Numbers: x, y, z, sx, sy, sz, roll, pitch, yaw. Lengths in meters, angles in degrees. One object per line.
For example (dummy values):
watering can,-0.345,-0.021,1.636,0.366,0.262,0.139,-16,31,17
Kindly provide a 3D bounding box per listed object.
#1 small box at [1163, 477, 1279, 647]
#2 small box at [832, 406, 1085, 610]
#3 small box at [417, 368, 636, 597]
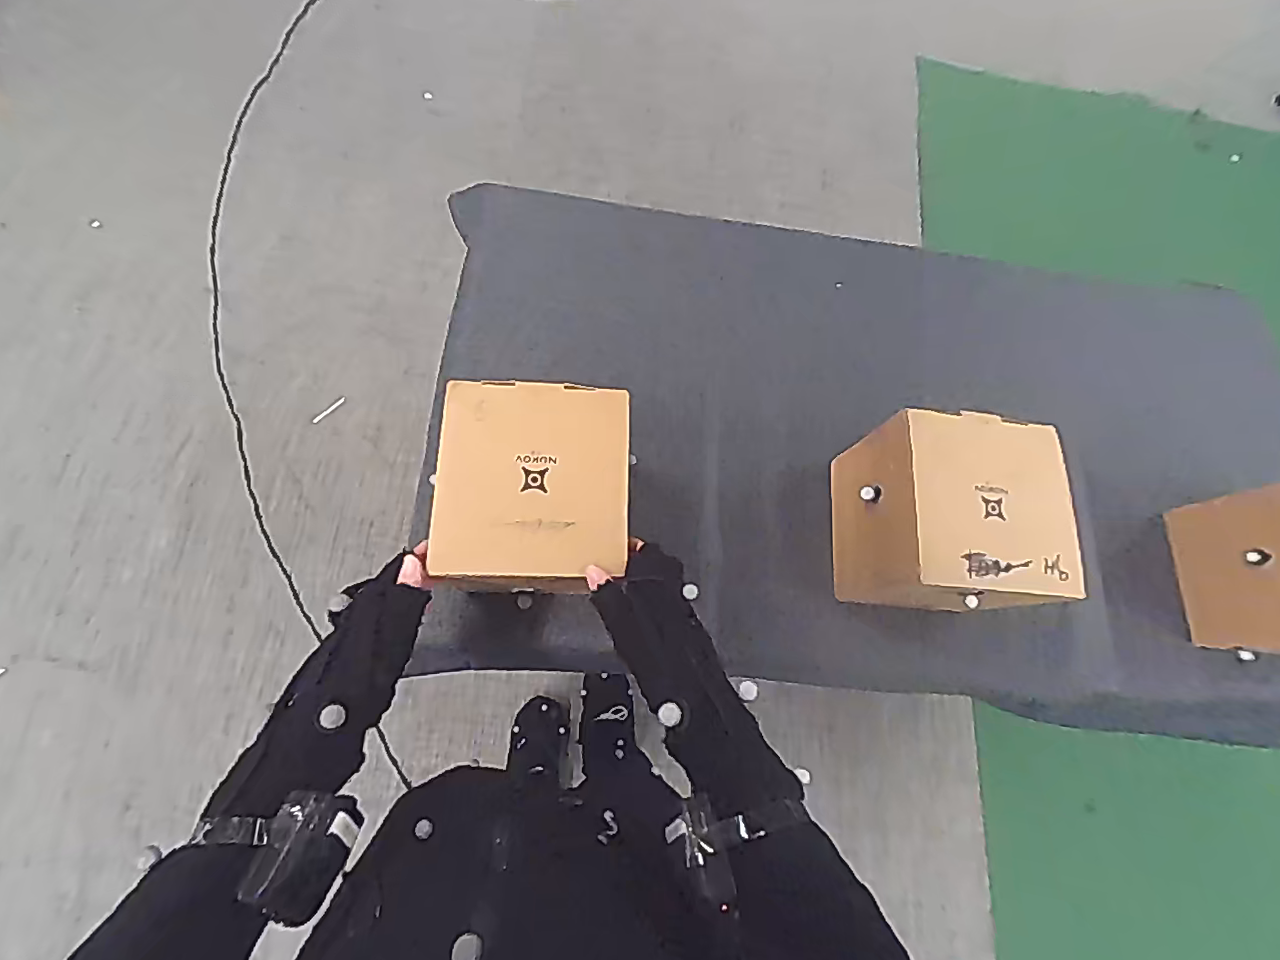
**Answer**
small box,0.780,0.103,0.631,0.168,0.176,0.179,6,71,-5
small box,0.325,0.041,0.593,0.168,0.176,0.179,6,71,-6
small box,-0.097,0.014,0.525,0.168,0.176,0.179,3,73,-5
